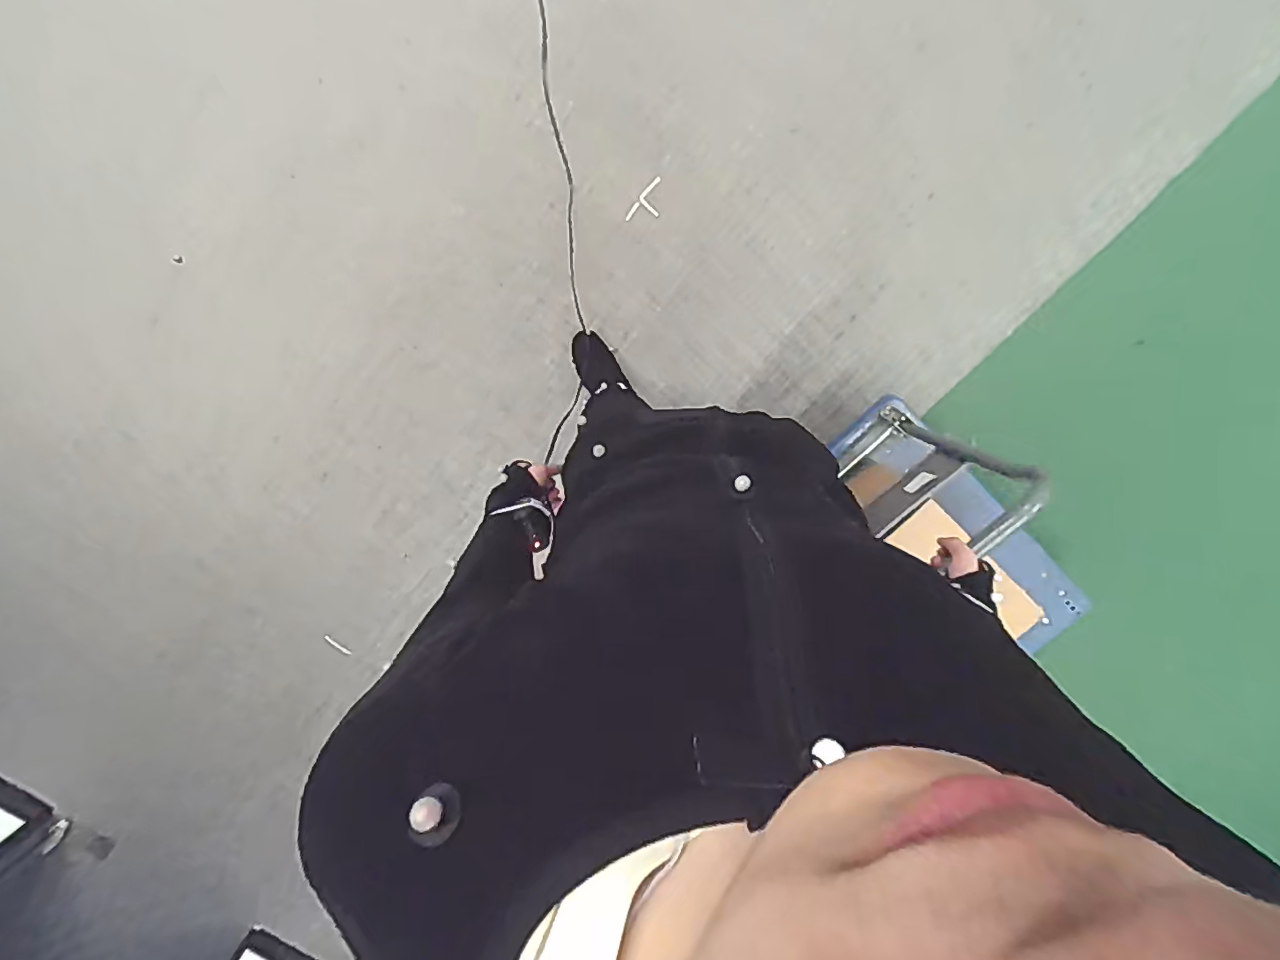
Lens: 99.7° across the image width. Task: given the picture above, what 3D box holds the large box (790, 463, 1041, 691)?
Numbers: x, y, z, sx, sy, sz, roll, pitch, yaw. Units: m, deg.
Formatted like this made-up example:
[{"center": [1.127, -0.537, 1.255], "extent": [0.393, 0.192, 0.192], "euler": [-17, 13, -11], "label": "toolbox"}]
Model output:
[{"center": [0.649, 0.224, 1.346], "extent": [0.408, 0.320, 0.320], "euler": [42, 104, -10], "label": "large box"}]
